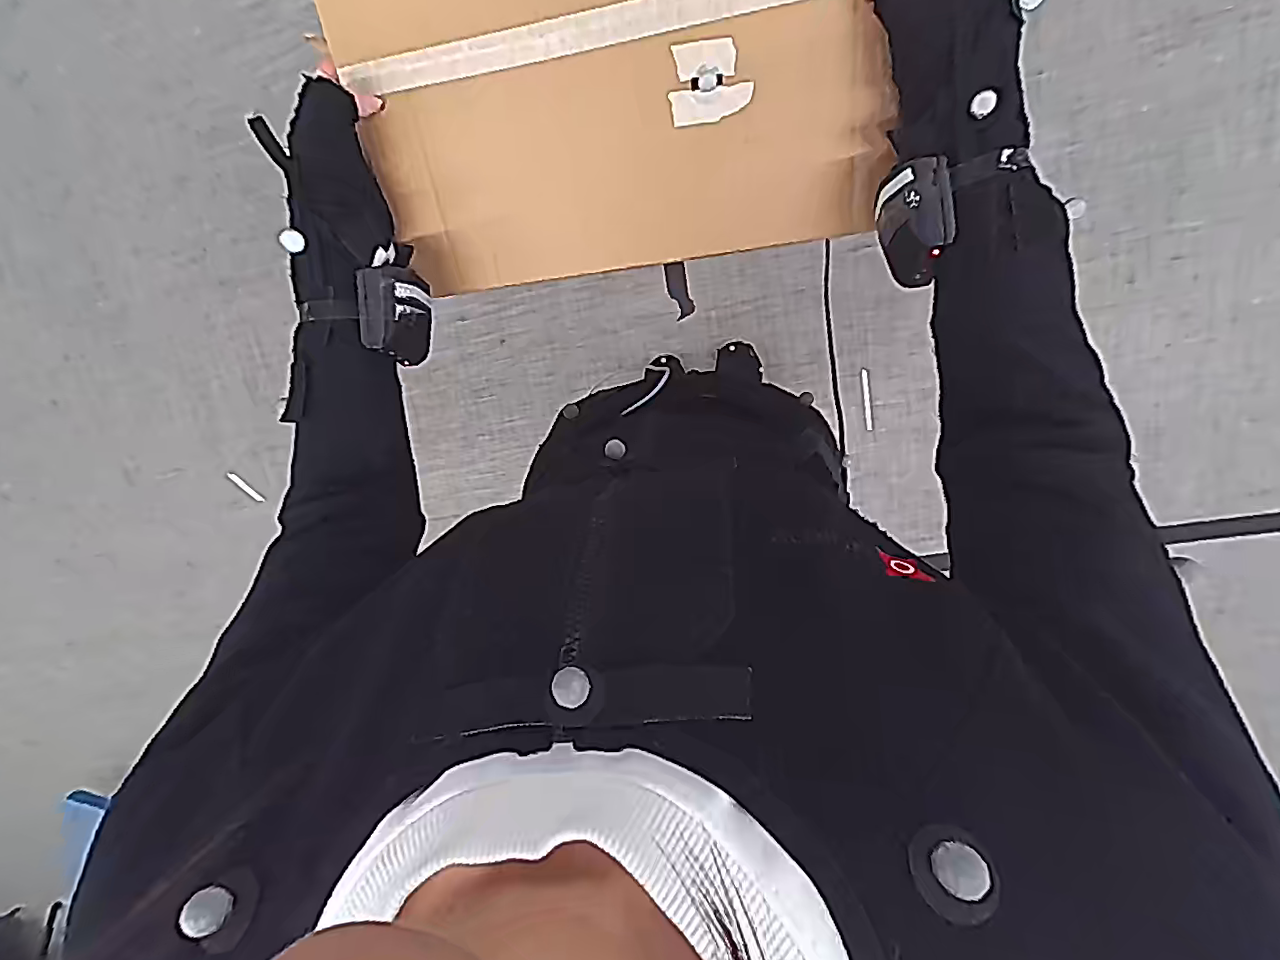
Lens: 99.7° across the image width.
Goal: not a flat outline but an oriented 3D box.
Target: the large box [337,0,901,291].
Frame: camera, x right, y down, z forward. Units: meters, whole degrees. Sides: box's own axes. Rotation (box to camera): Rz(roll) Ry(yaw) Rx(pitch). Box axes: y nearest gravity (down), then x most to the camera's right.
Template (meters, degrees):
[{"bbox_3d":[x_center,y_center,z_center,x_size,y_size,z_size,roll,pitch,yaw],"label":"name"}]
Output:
[{"bbox_3d":[-0.008,-0.388,0.522,0.408,0.320,0.320,-6,115,8],"label":"large box"}]
